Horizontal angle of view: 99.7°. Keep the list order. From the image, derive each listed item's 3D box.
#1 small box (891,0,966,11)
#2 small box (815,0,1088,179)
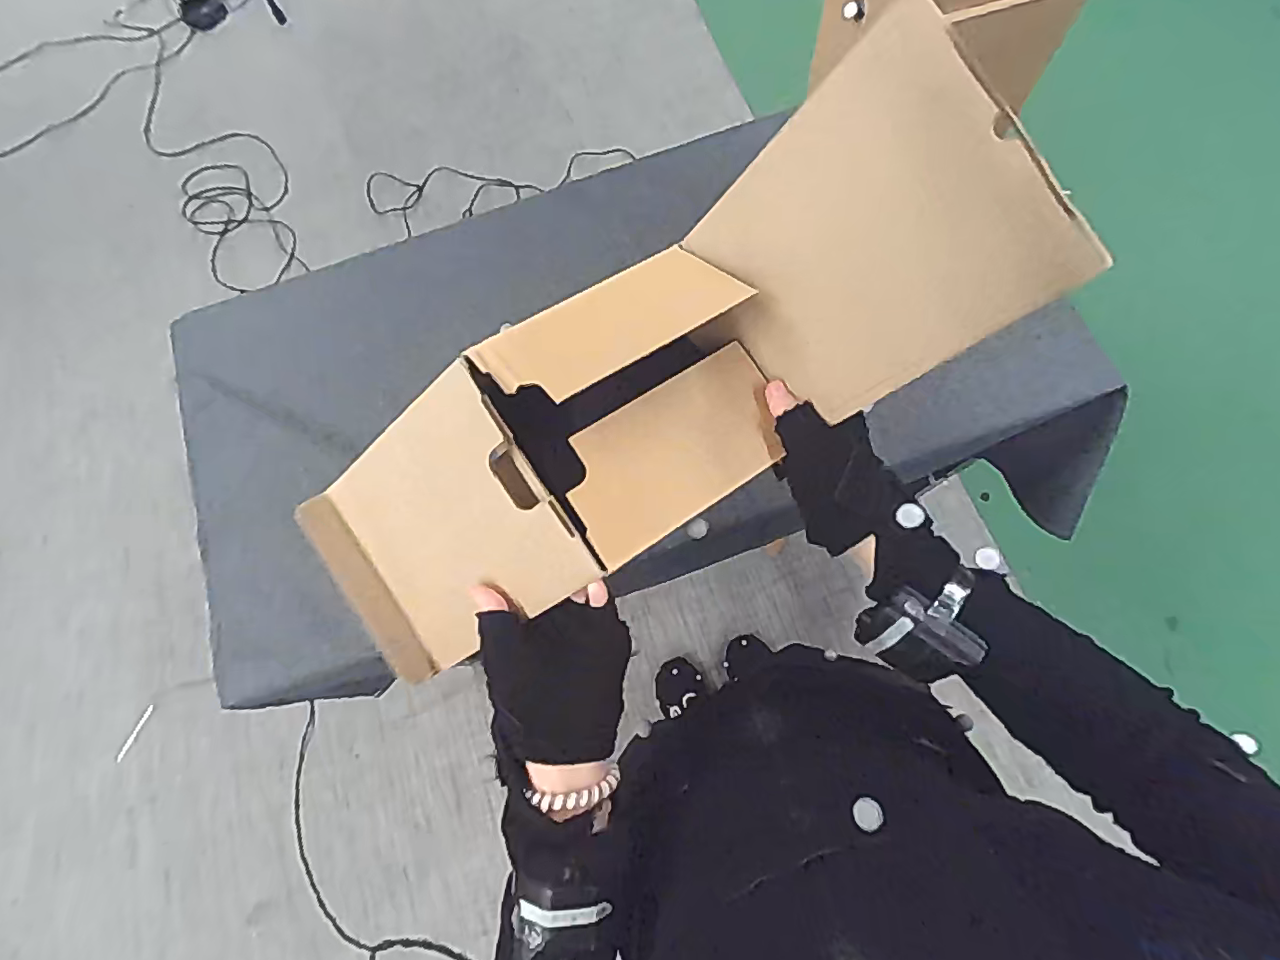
[{"bbox_3d":[0.279,-0.504,0.402,0.179,0.176,0.168,-12,74,2],"label":"small box"},{"bbox_3d":[0.298,-0.457,0.558,0.168,0.176,0.179,-14,74,2],"label":"small box"}]
